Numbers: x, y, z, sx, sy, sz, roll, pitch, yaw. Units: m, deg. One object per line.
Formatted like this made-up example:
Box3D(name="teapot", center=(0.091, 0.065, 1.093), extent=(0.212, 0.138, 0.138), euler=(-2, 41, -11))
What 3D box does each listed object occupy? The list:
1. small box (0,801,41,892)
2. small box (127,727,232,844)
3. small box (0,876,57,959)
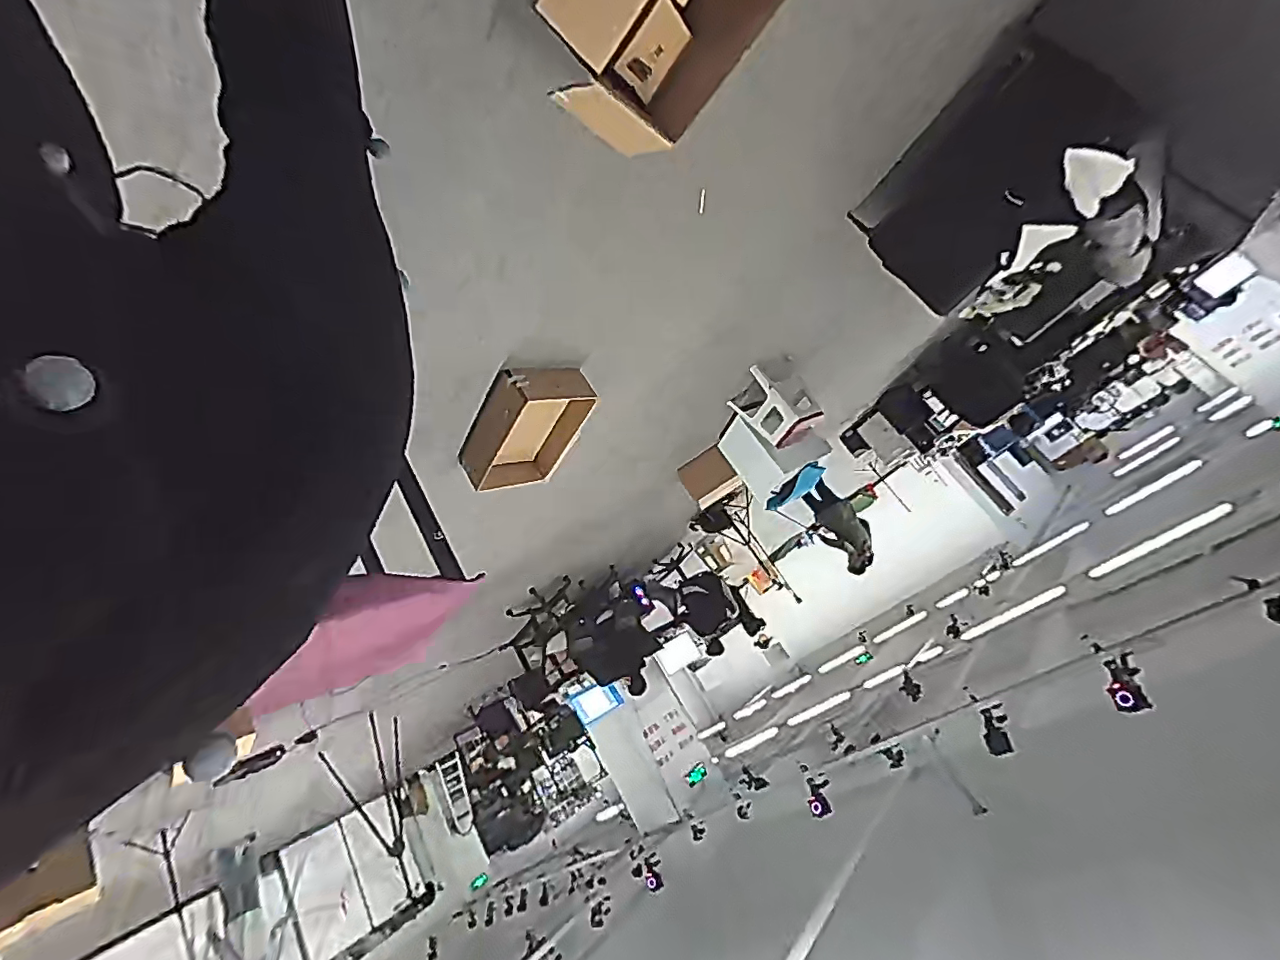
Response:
Box3D(name="small box", center=(-1.357, 0.795, 1.104), extent=(0.168, 0.176, 0.179), euler=(-7, 144, -51))
Box3D(name="small box", center=(-1.133, 0.739, 1.327), extent=(0.168, 0.176, 0.179), euler=(-10, 147, -49))
Box3D(name="small box", center=(-1.263, 0.917, 1.047), extent=(0.168, 0.176, 0.179), euler=(-6, 142, -50))
